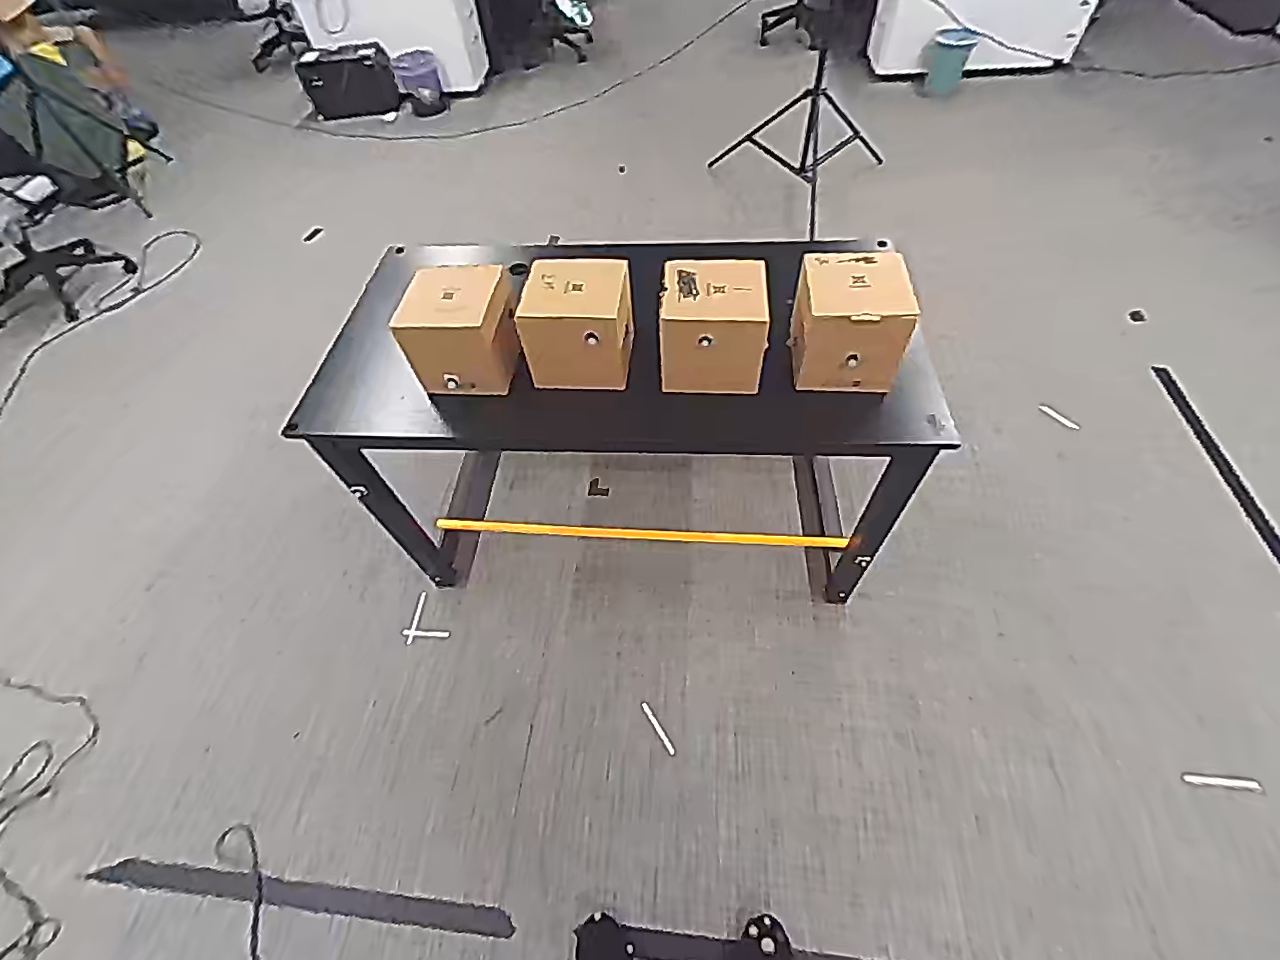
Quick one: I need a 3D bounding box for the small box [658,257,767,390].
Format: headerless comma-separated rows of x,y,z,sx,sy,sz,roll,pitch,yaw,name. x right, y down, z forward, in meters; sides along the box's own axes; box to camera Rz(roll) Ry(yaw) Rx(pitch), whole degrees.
0.127,-0.277,0.970,0.179,0.176,0.168,2,55,5,small box

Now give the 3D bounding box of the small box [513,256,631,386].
-0.112,-0.289,0.997,0.179,0.176,0.168,2,55,6,small box

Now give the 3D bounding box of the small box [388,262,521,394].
-0.332,-0.282,1.011,0.168,0.176,0.179,0,56,6,small box

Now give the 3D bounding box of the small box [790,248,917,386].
0.363,-0.283,0.954,0.168,0.176,0.179,3,56,6,small box
